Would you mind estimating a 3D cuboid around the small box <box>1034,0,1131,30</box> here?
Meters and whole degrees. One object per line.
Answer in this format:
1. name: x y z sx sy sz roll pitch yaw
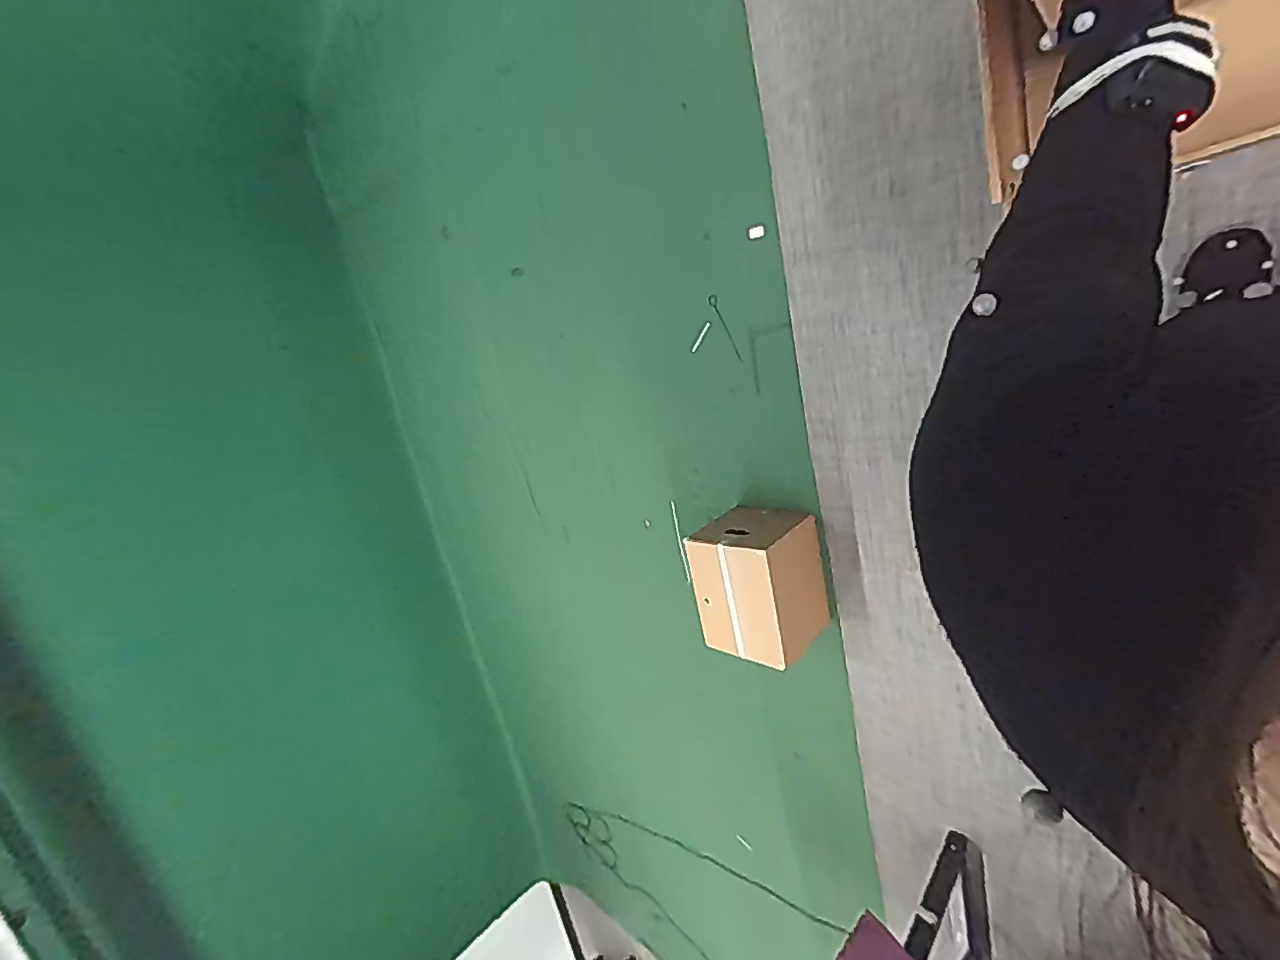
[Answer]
1. small box: 0.439 -0.551 0.471 0.168 0.176 0.179 3 107 45
